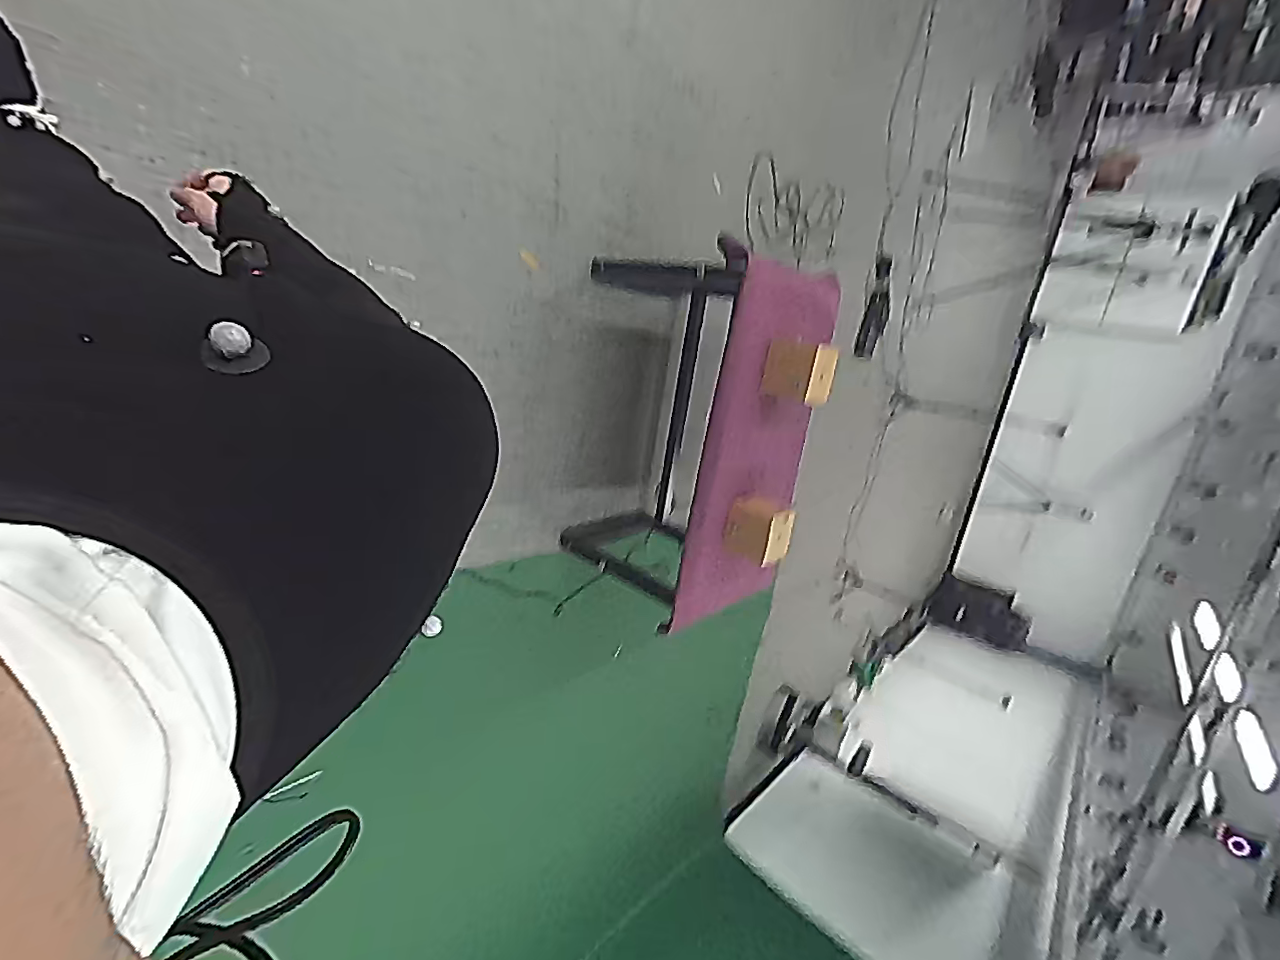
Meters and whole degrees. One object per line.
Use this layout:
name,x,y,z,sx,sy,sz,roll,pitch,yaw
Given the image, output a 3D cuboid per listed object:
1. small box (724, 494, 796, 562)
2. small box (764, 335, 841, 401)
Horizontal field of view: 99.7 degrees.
small box,0.418,0.162,1.899,0.168,0.176,0.179,-9,114,-47
small box,0.528,-0.368,1.777,0.168,0.176,0.179,-6,112,-48
